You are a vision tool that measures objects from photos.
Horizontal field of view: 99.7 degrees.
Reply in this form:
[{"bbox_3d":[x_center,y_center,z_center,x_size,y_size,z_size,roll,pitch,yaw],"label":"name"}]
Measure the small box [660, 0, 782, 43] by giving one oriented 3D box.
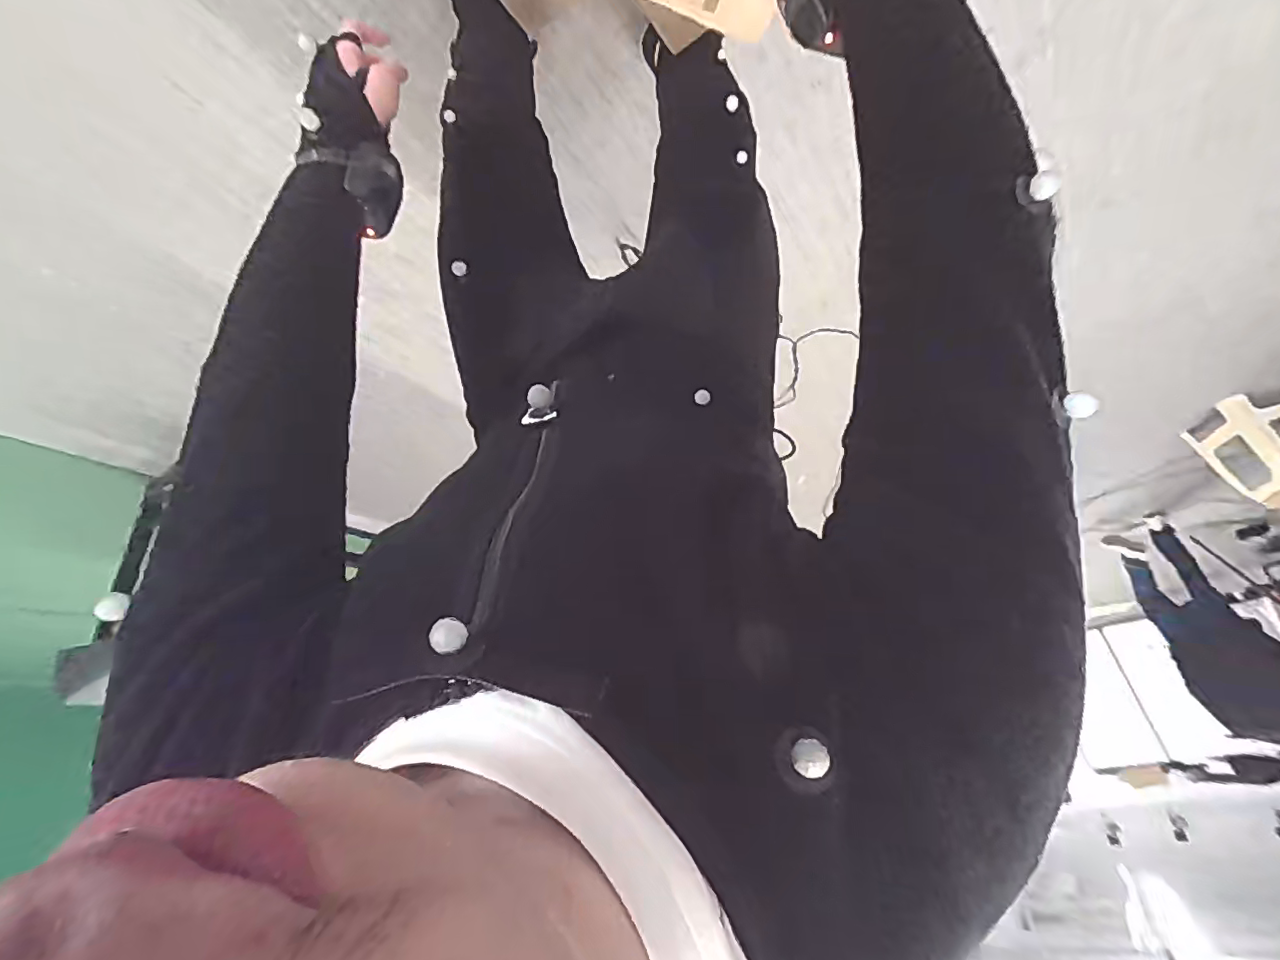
[{"bbox_3d":[0.078,-0.551,0.480,0.168,0.179,0.176,10,163,-17],"label":"small box"}]
